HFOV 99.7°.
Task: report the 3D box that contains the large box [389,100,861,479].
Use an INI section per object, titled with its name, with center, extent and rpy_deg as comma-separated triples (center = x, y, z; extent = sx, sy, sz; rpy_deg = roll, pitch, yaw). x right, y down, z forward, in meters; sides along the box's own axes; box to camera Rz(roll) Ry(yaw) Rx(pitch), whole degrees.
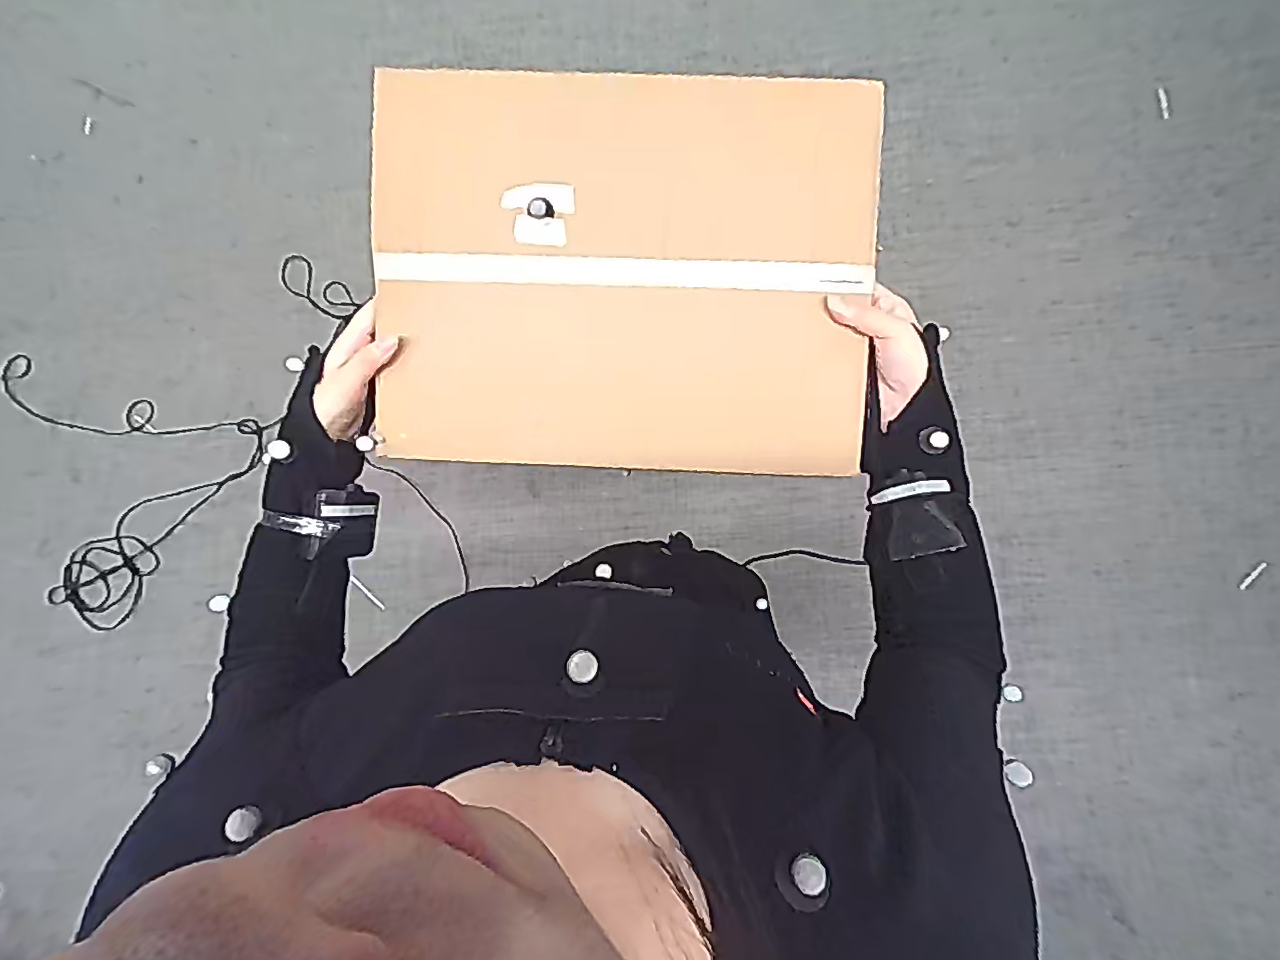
[large box]
center = -0.010, -0.173, 0.609
extent = 0.408, 0.320, 0.320
rpy_deg = 2, 94, 3
